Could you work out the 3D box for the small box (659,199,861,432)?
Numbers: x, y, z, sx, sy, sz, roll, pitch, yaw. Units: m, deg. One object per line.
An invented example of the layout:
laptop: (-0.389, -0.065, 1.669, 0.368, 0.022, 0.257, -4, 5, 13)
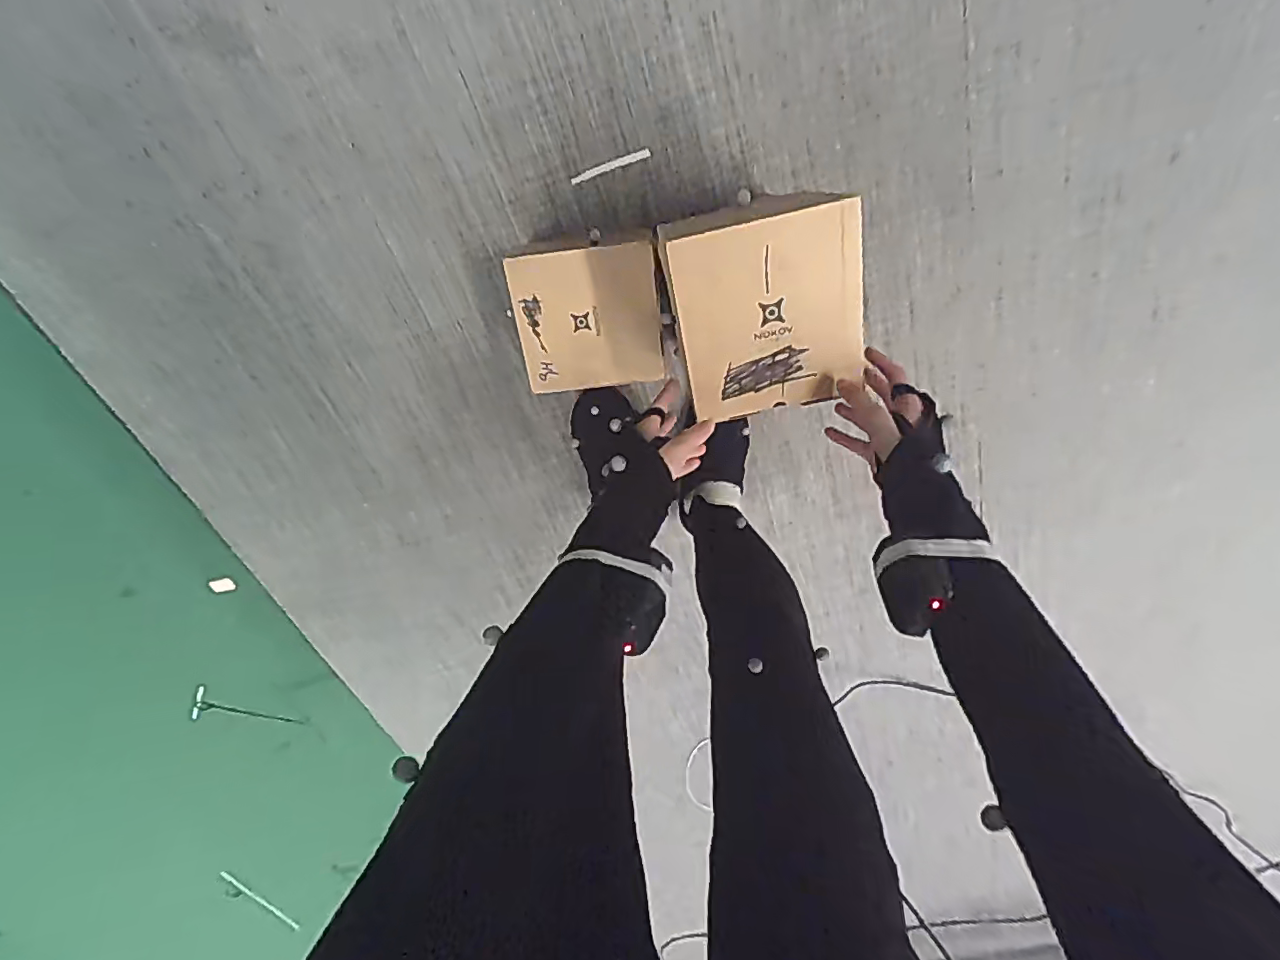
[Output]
small box: (0.116, -0.175, 0.558, 0.168, 0.176, 0.179, -11, 119, 6)
